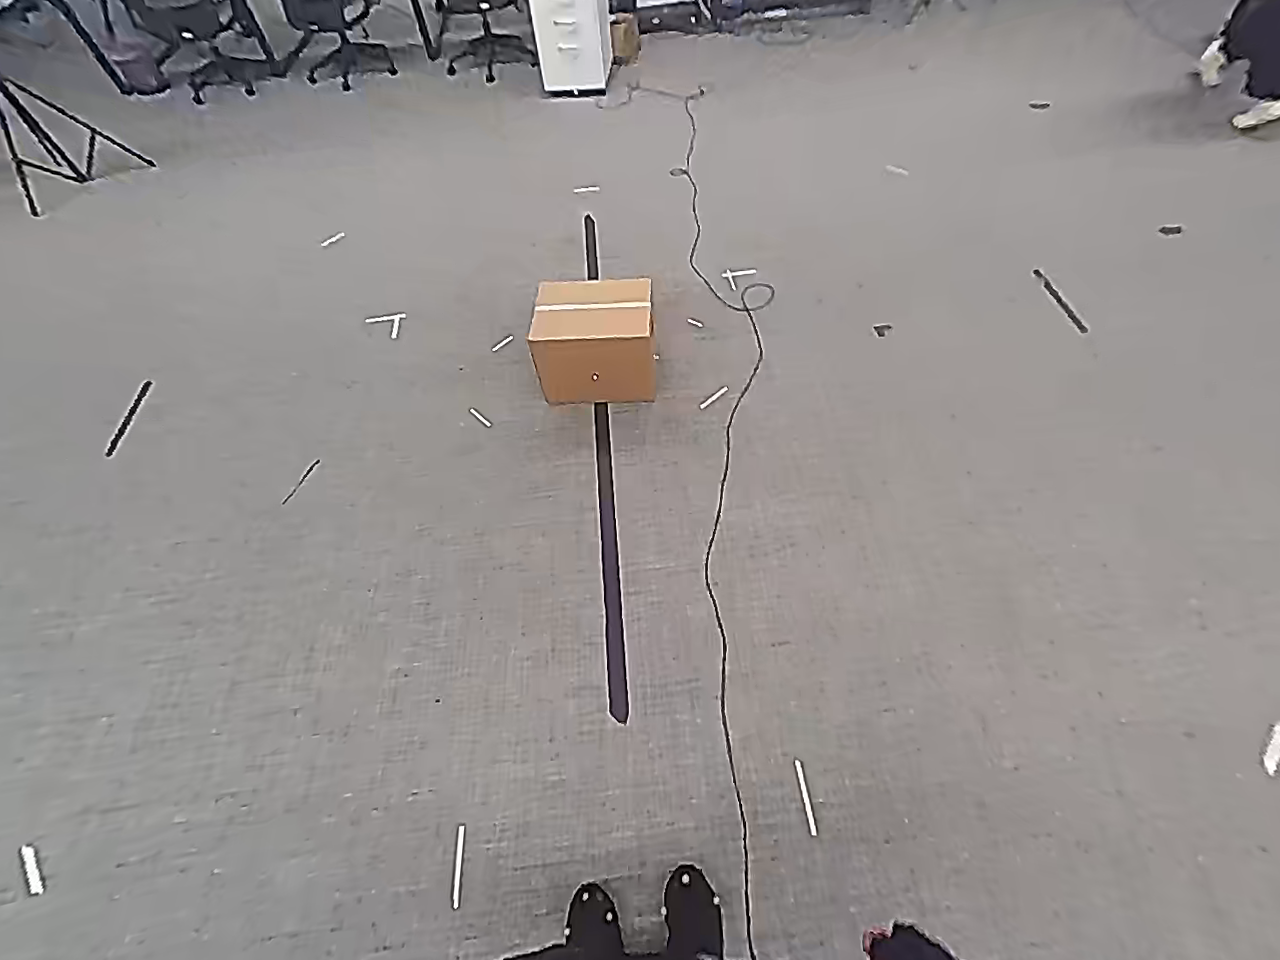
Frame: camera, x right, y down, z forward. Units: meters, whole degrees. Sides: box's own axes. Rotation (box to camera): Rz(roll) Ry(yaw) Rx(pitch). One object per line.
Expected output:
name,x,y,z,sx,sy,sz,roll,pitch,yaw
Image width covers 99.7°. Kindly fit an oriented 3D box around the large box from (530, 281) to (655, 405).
large box,-0.155,-0.490,1.959,0.408,0.320,0.320,-1,56,4
